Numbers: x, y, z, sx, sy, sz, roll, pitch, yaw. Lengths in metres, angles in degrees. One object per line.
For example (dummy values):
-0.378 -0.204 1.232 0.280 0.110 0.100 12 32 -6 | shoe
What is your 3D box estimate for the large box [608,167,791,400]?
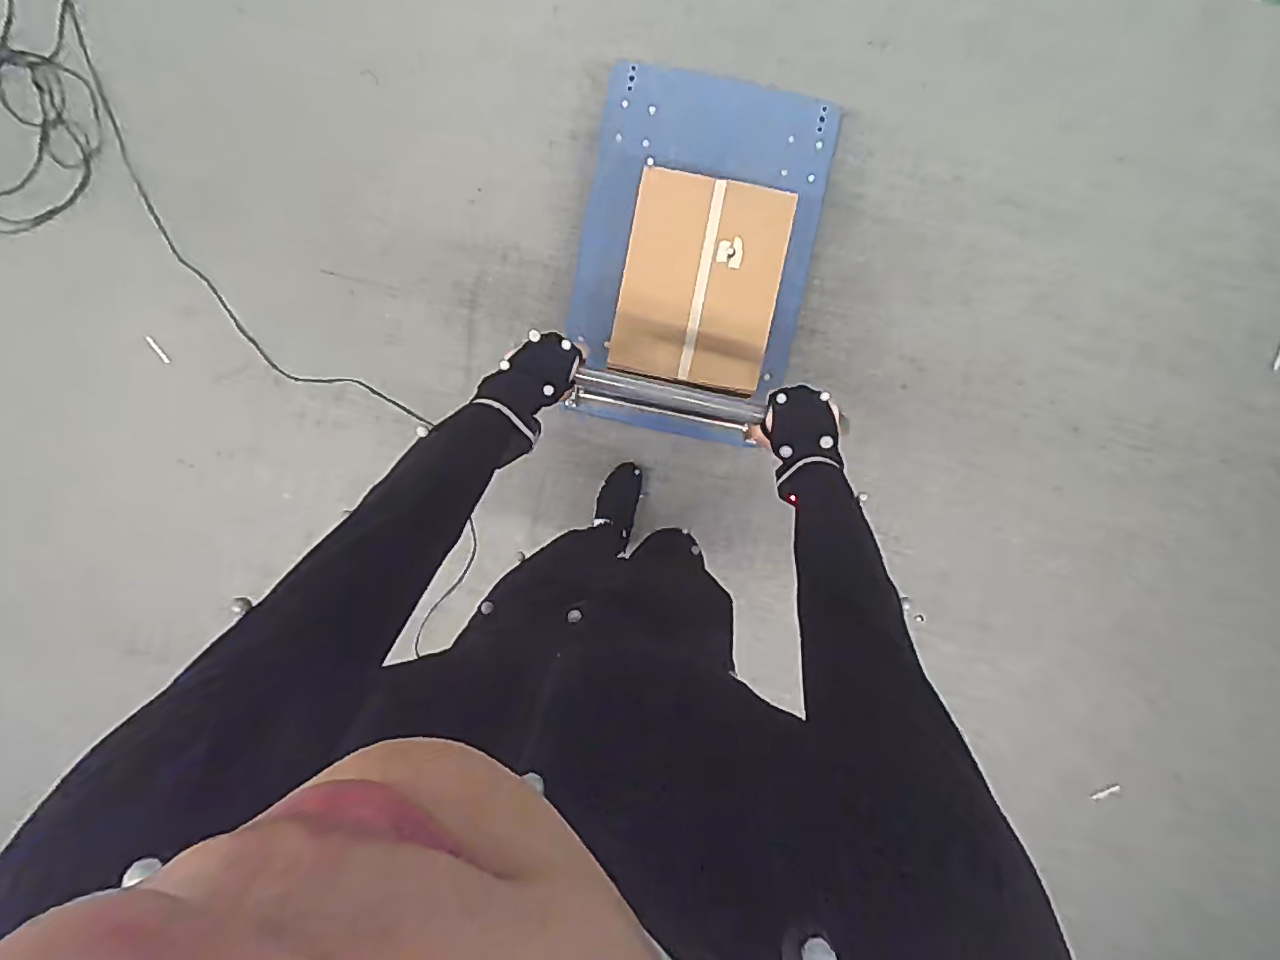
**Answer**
0.121 -0.416 1.245 0.320 0.320 0.408 11 95 -1 | large box
